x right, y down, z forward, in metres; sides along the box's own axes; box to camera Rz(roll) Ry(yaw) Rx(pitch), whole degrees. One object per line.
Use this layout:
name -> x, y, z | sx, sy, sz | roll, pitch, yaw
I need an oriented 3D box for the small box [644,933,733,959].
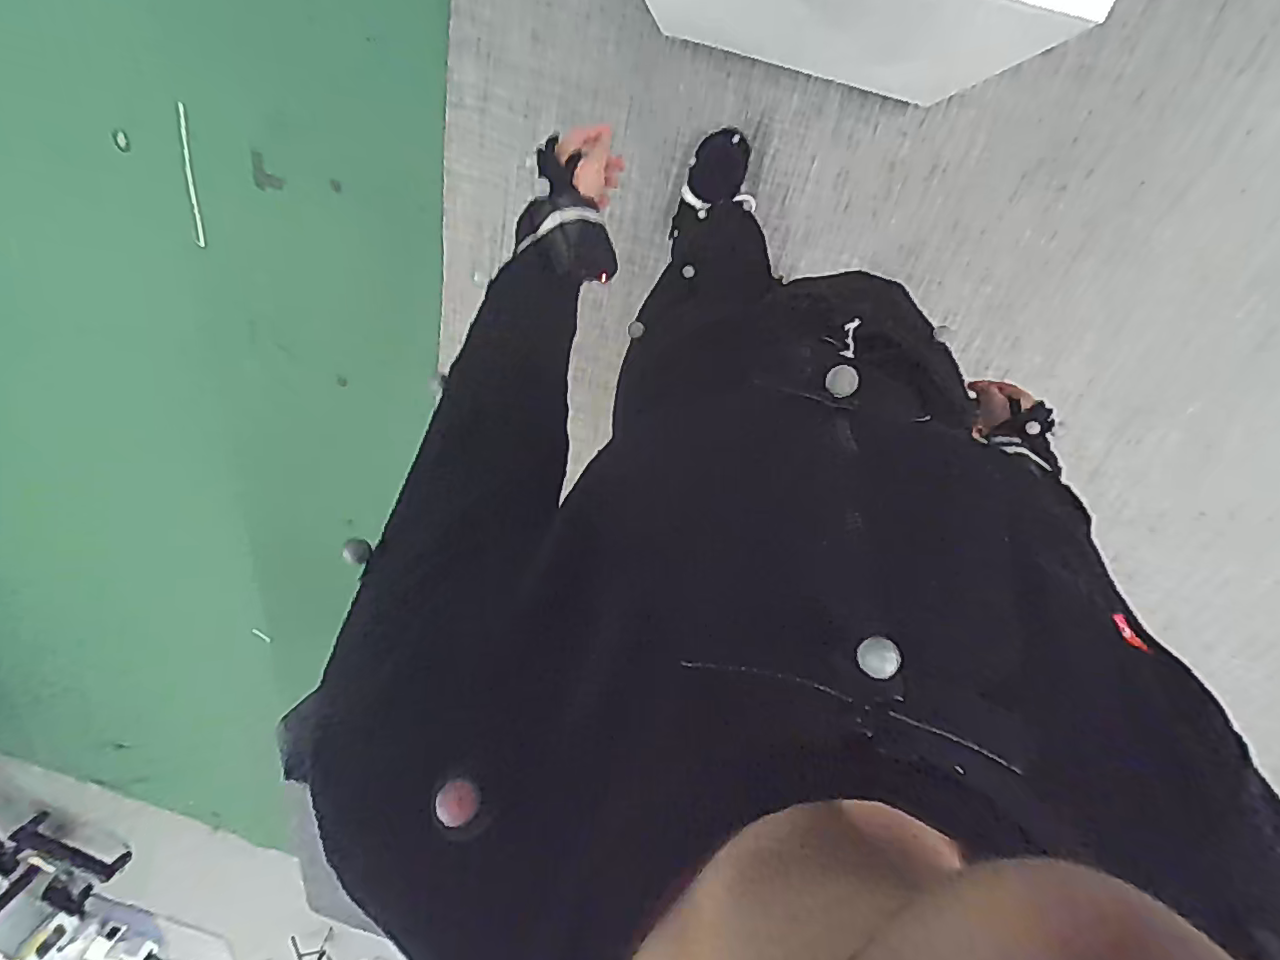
small box -> 0.085, 1.067, 1.098 | 0.179, 0.176, 0.168 | 12, 120, 4
